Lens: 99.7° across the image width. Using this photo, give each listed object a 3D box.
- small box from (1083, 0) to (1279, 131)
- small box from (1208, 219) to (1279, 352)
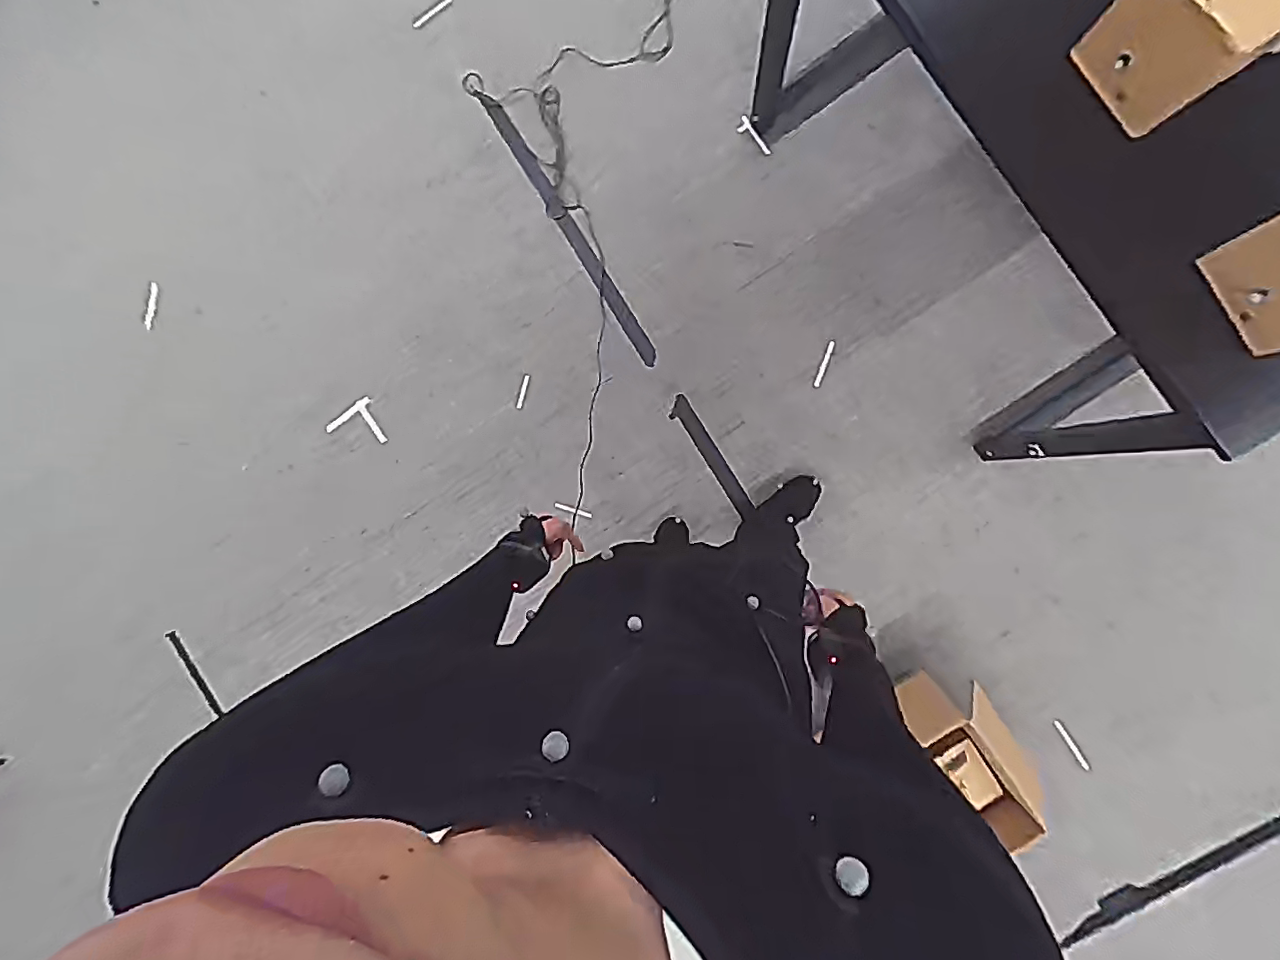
[{"bbox_3d":[0.761,-0.623,0.718,0.179,0.176,0.168,-34,87,6],"label":"small box"},{"bbox_3d":[0.929,-0.292,0.702,0.179,0.176,0.168,-28,87,6],"label":"small box"}]
